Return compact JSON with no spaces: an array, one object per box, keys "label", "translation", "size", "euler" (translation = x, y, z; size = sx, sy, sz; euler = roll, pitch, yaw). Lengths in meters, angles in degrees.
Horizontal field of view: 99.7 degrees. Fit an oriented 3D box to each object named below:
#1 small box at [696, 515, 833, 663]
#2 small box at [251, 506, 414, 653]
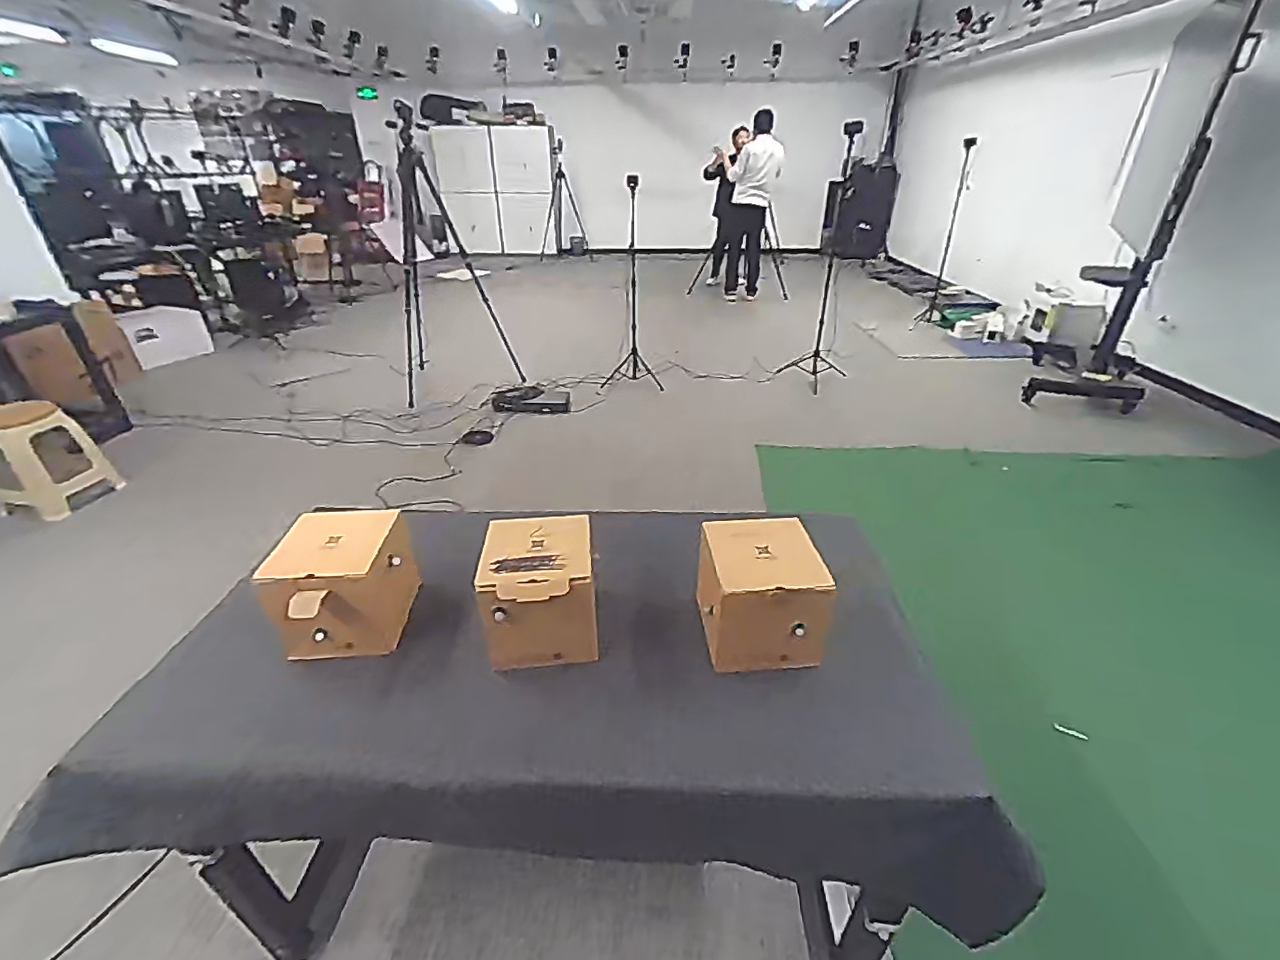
[{"label":"small box","translation":[0.186,0.175,0.864],"size":[0.168,0.176,0.179],"euler":[-2,29,-5]},{"label":"small box","translation":[-0.487,0.159,0.890],"size":[0.168,0.176,0.179],"euler":[-2,31,-4]}]
